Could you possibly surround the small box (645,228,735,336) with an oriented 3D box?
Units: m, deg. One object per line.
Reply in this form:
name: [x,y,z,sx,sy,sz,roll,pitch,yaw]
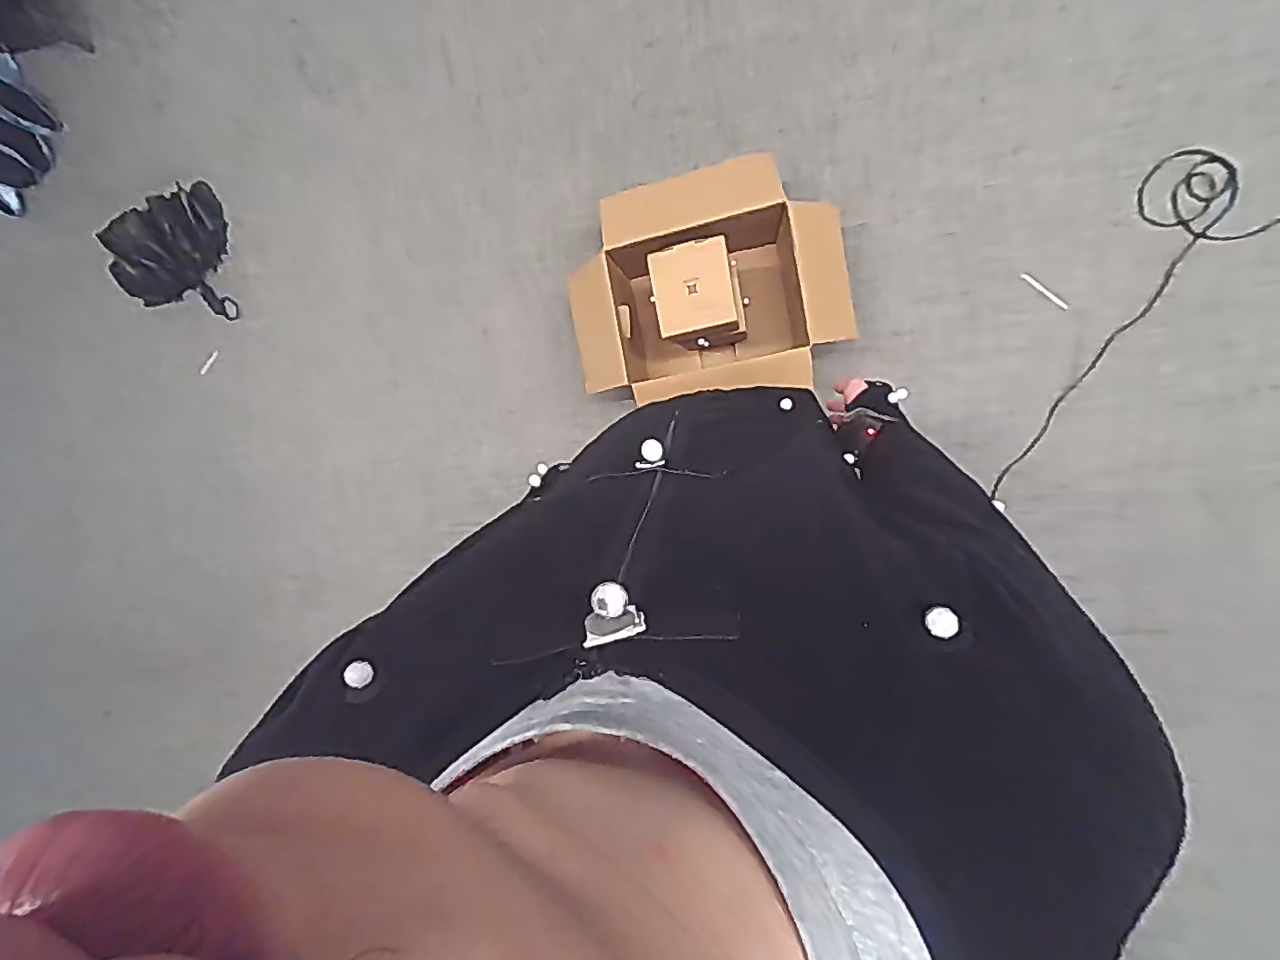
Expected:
small box: [0.117,-0.431,1.204,0.168,0.176,0.179,-9,98,14]
